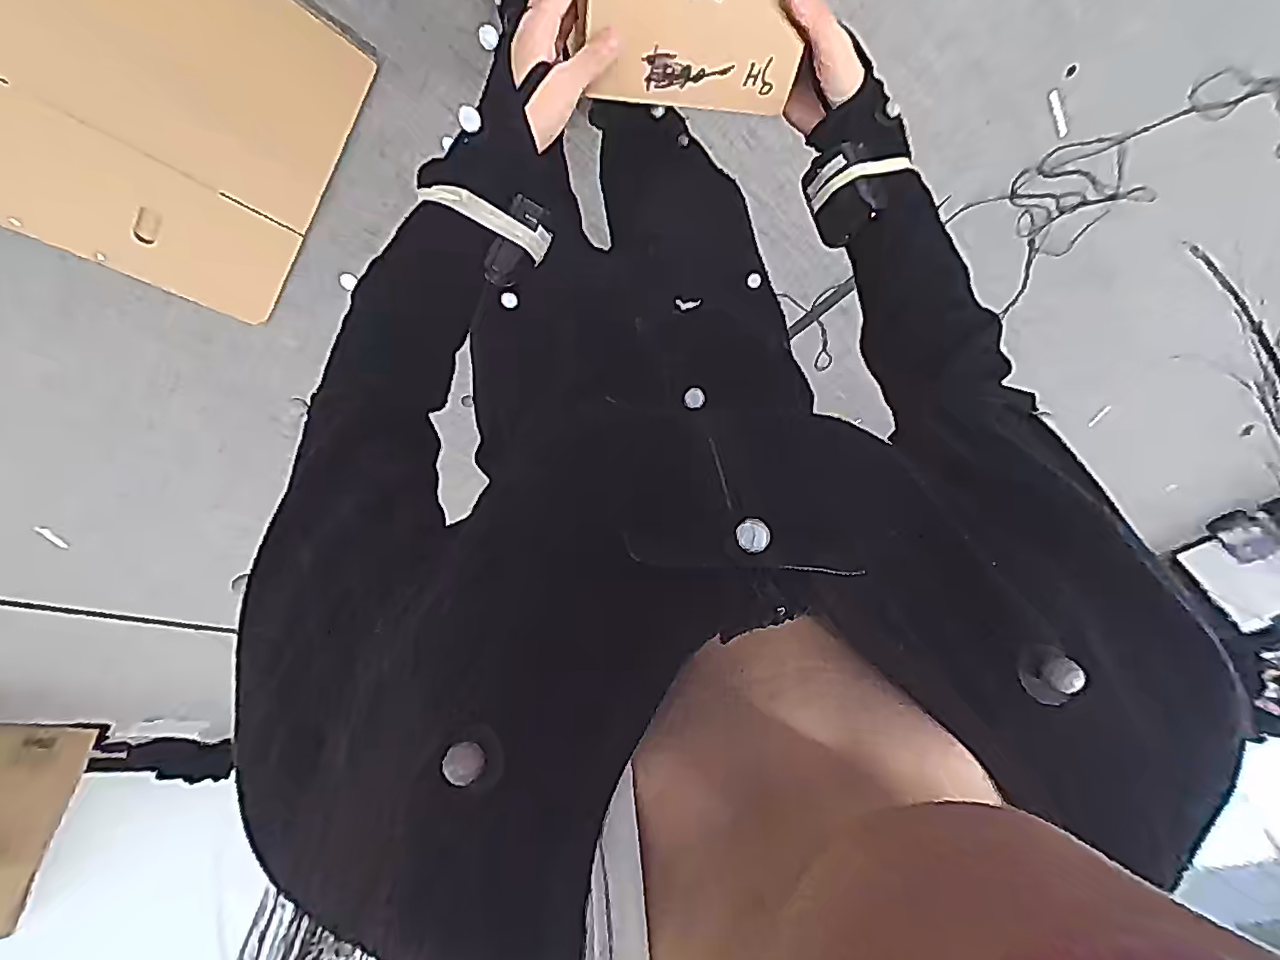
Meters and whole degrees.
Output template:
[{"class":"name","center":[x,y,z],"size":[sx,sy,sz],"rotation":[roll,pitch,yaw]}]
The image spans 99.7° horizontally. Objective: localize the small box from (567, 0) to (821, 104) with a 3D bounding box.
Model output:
[{"class":"small box","center":[0.037,-0.416,0.404],"size":[0.168,0.176,0.179],"rotation":[-4,142,-13]}]
